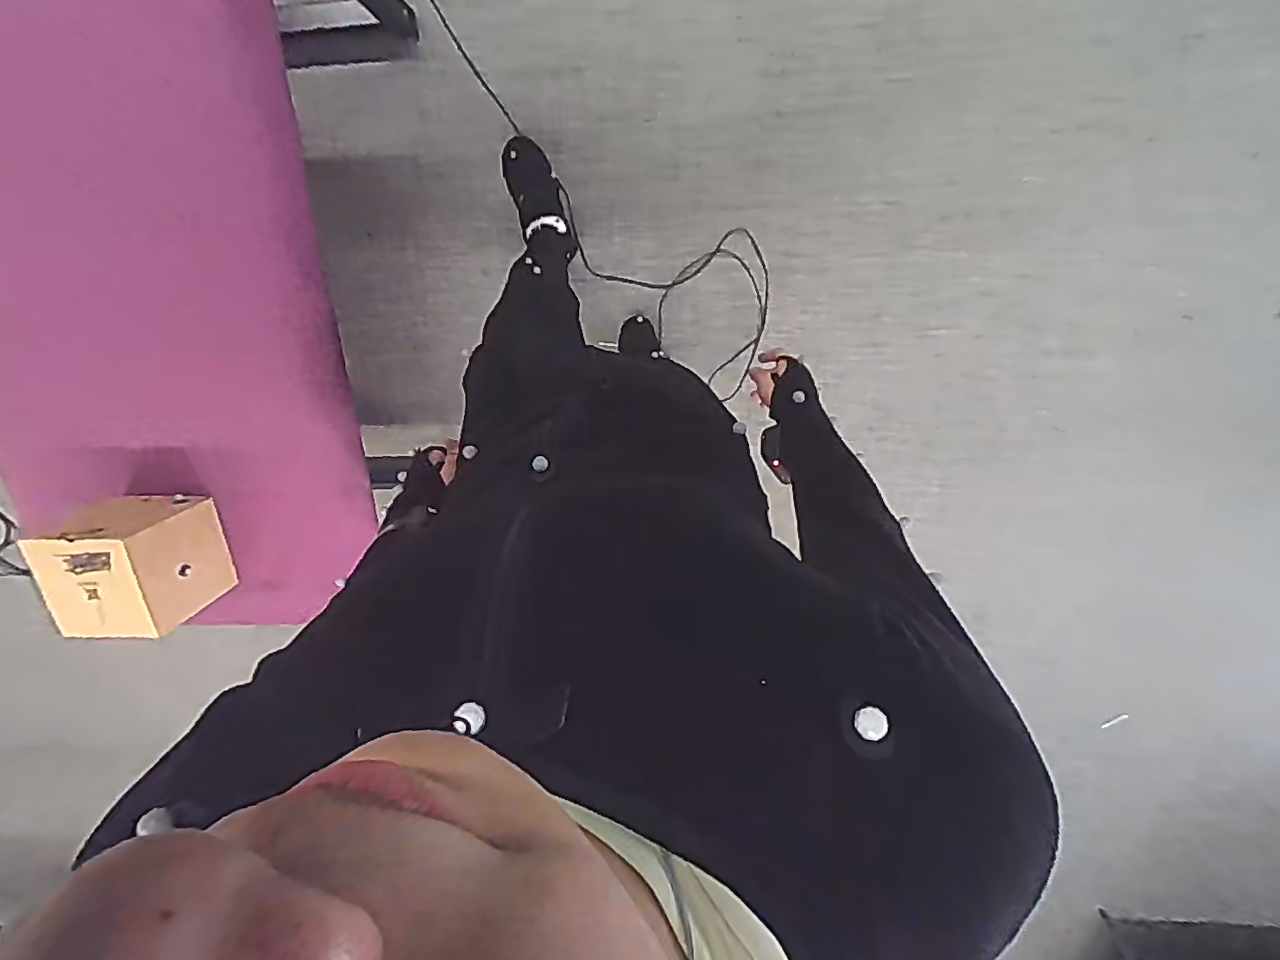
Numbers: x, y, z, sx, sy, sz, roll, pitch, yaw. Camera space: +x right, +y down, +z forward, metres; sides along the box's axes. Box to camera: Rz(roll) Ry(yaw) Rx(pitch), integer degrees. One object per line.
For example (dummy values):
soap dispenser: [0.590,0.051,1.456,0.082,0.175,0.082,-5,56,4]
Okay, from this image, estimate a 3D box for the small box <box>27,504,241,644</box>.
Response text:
small box: [-0.812,0.147,0.891,0.168,0.176,0.179,0,111,3]
